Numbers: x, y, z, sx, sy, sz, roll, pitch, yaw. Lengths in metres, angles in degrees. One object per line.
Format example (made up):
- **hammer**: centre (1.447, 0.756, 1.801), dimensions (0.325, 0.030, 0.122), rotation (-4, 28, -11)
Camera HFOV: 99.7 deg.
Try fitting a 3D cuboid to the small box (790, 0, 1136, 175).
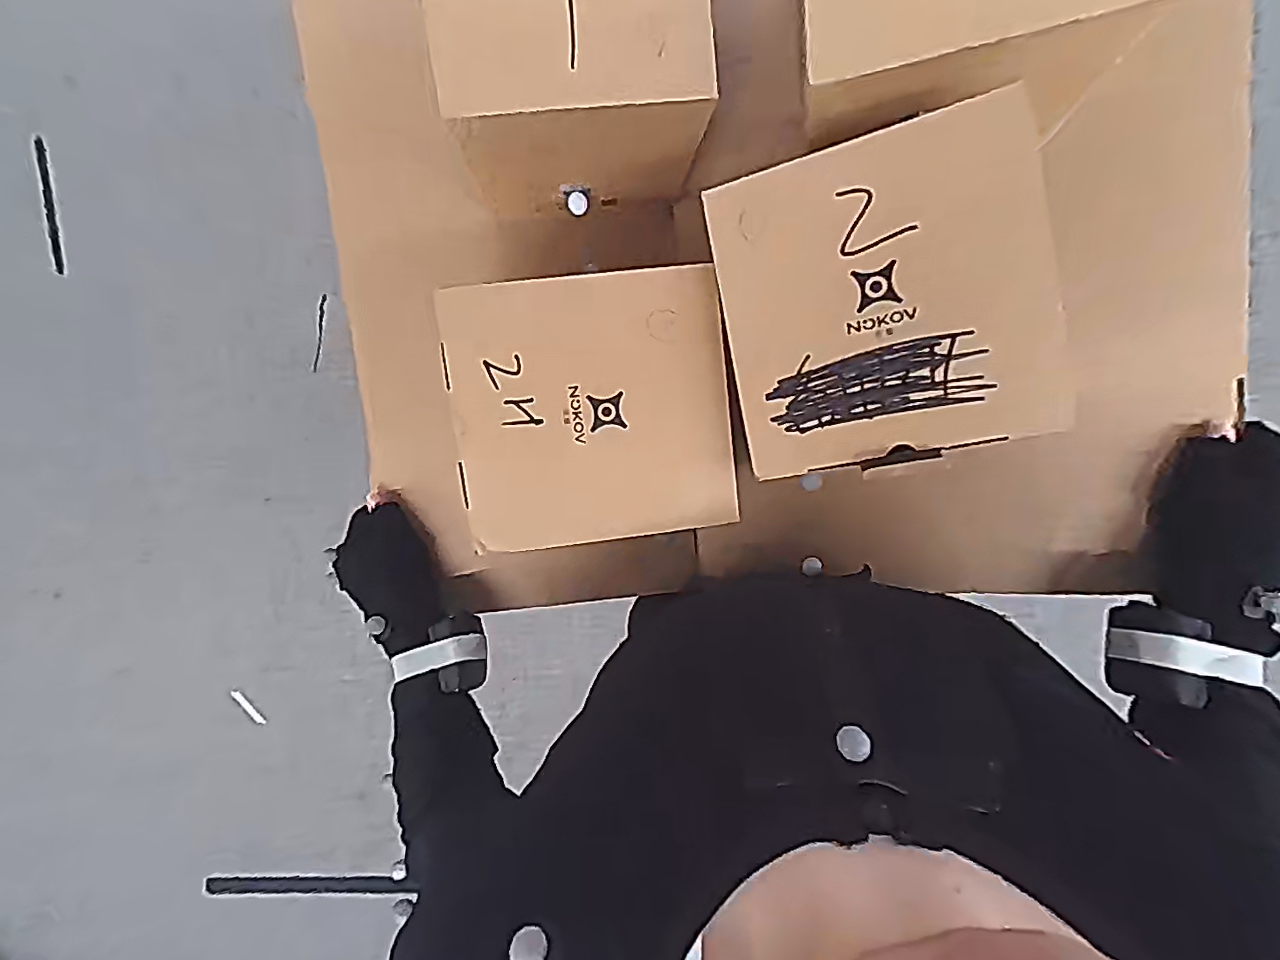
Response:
- **small box**: centre (0.181, -0.319, 0.339), dimensions (0.168, 0.176, 0.179), rotation (-3, 96, 17)
